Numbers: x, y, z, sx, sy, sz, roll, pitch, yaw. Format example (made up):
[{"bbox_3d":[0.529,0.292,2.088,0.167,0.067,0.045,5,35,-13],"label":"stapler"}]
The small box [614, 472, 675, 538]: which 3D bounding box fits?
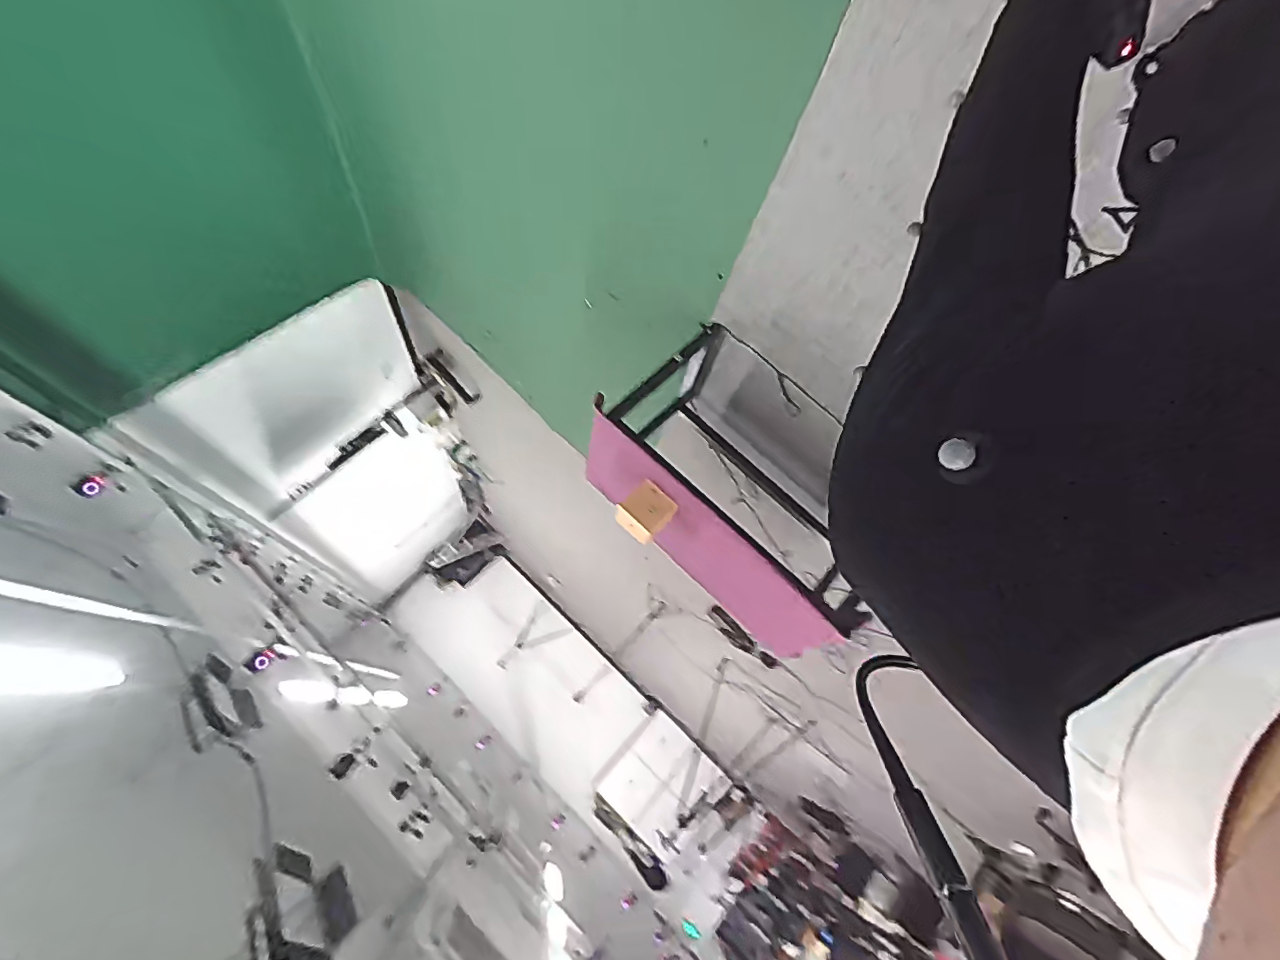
[{"bbox_3d":[0.019,0.097,2.145,0.168,0.176,0.179,41,159,10],"label":"small box"}]
